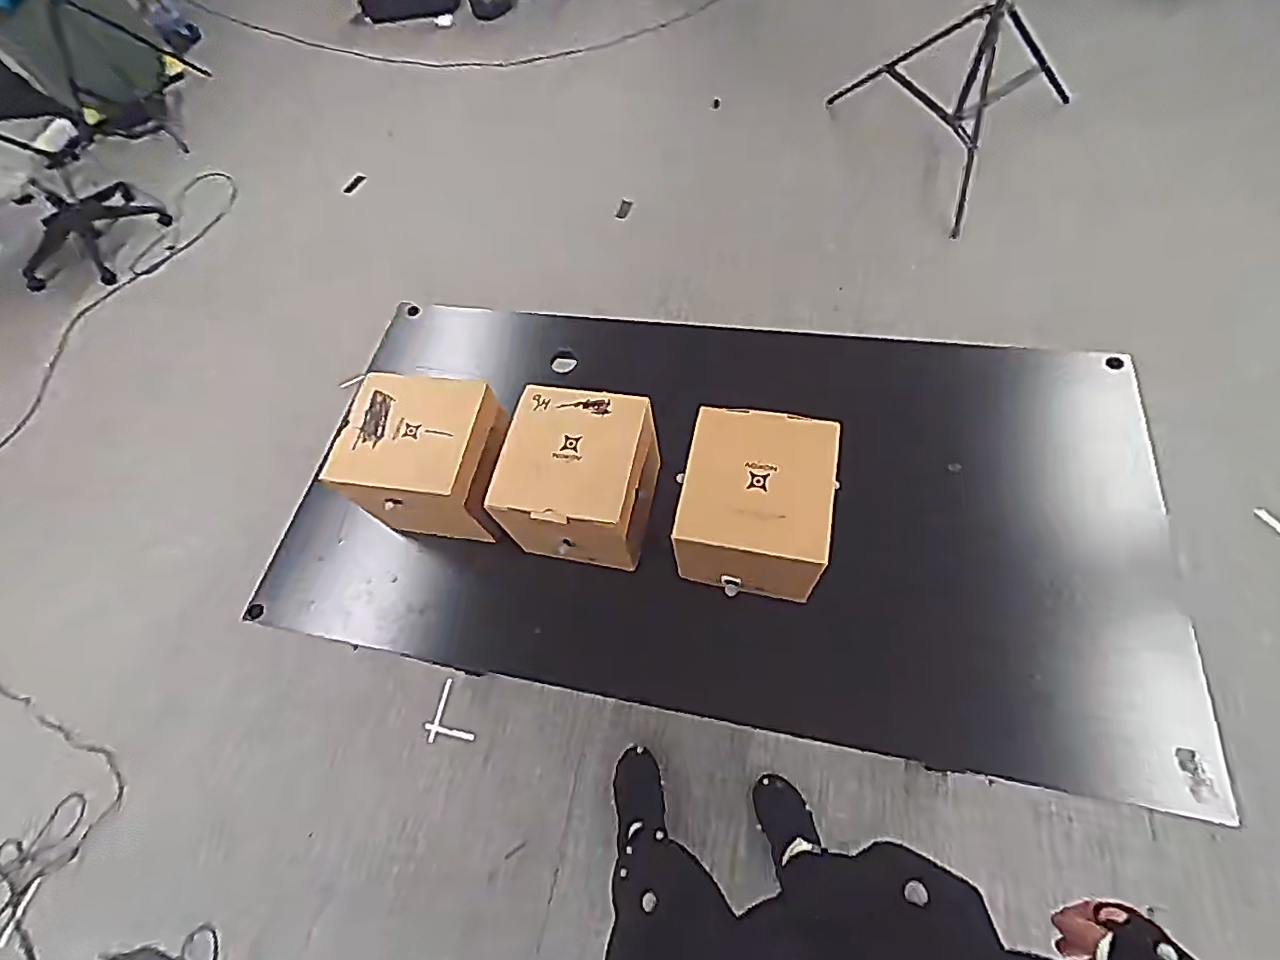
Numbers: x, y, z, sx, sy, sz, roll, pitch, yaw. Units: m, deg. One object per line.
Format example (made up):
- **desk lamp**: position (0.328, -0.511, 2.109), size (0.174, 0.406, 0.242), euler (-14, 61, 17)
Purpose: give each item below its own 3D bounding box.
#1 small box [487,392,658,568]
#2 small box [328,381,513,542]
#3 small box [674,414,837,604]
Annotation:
- **small box**: position (-0.076, 0.007, 0.726), size (0.168, 0.176, 0.179), euler (8, 65, 12)
- **small box**: position (-0.285, -0.021, 0.767), size (0.179, 0.176, 0.168), euler (6, 65, 9)
- **small box**: position (0.143, 0.041, 0.683), size (0.168, 0.176, 0.179), euler (7, 66, 13)
